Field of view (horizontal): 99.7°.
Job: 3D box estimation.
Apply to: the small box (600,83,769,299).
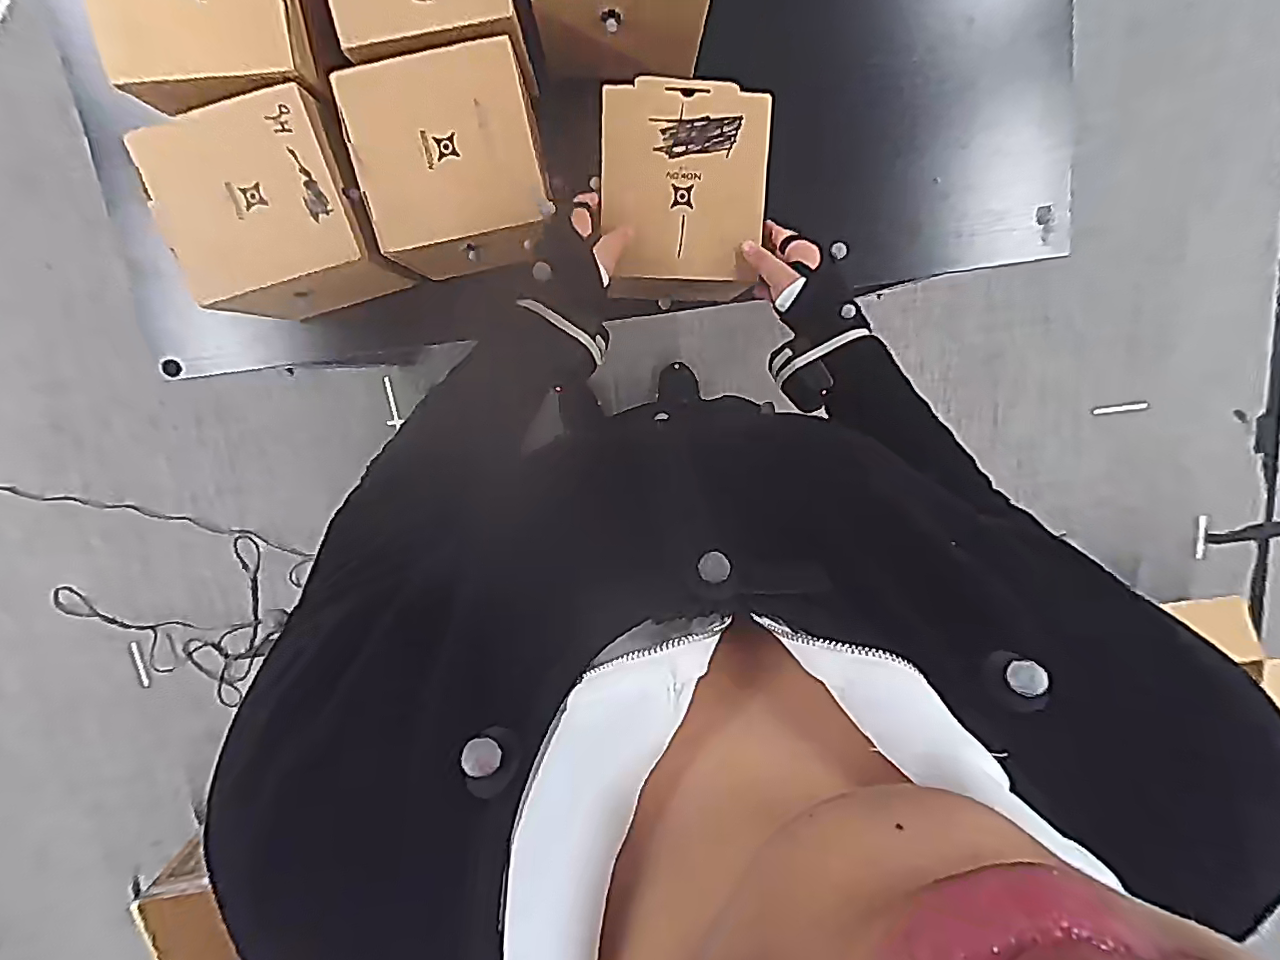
[{"bbox_3d":[0.040,-0.313,0.622,0.168,0.176,0.179,1,102,-2],"label":"small box"}]
